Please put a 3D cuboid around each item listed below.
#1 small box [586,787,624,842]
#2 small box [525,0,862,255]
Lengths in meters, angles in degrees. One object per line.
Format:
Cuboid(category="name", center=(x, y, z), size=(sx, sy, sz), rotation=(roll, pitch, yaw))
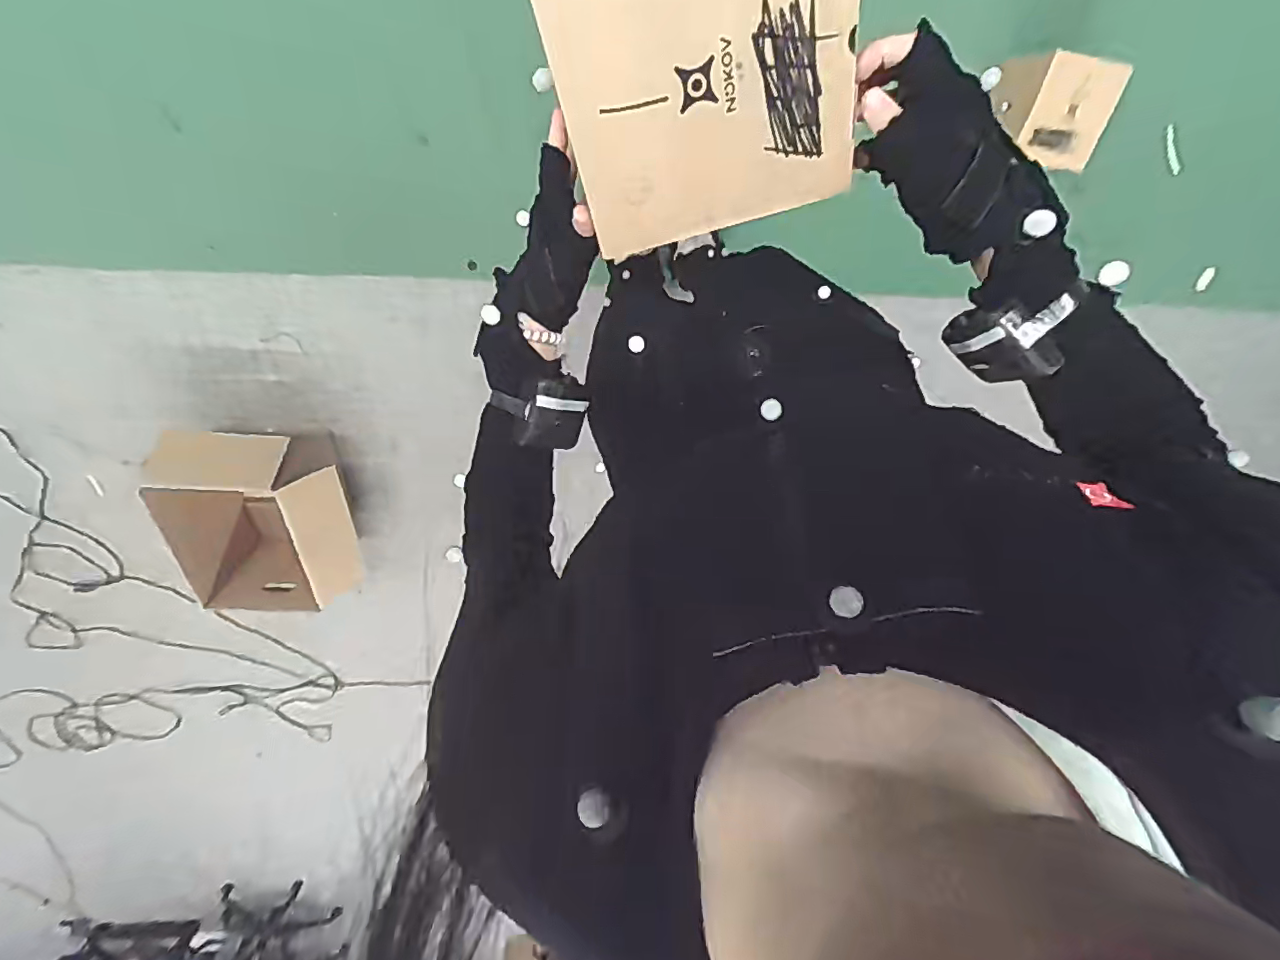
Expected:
Cuboid(category="small box", center=(-0.164, 1.585, 2.564), size=(0.179, 0.176, 0.168), rotation=(-1, 122, -4))
Cuboid(category="small box", center=(0.027, -0.282, 0.356), size=(0.179, 0.176, 0.168), rotation=(-14, 136, 4))
